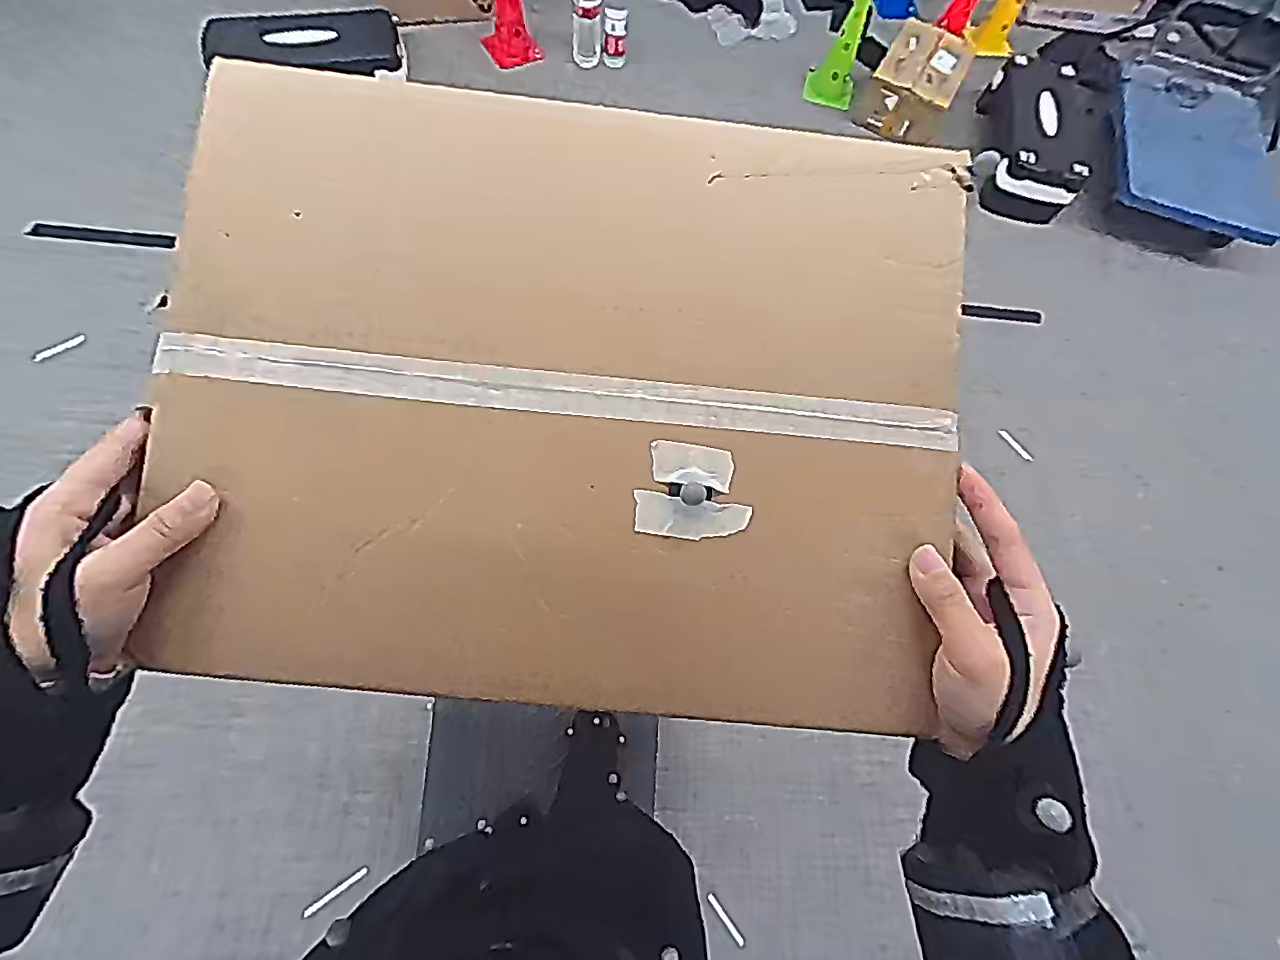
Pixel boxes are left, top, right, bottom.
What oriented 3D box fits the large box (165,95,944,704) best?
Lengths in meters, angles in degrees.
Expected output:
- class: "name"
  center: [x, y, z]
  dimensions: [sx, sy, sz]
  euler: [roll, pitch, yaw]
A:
- class: "large box"
  center: [-0.041, -0.036, 0.442]
  dimensions: [0.408, 0.320, 0.320]
  euler: [6, 86, -2]
